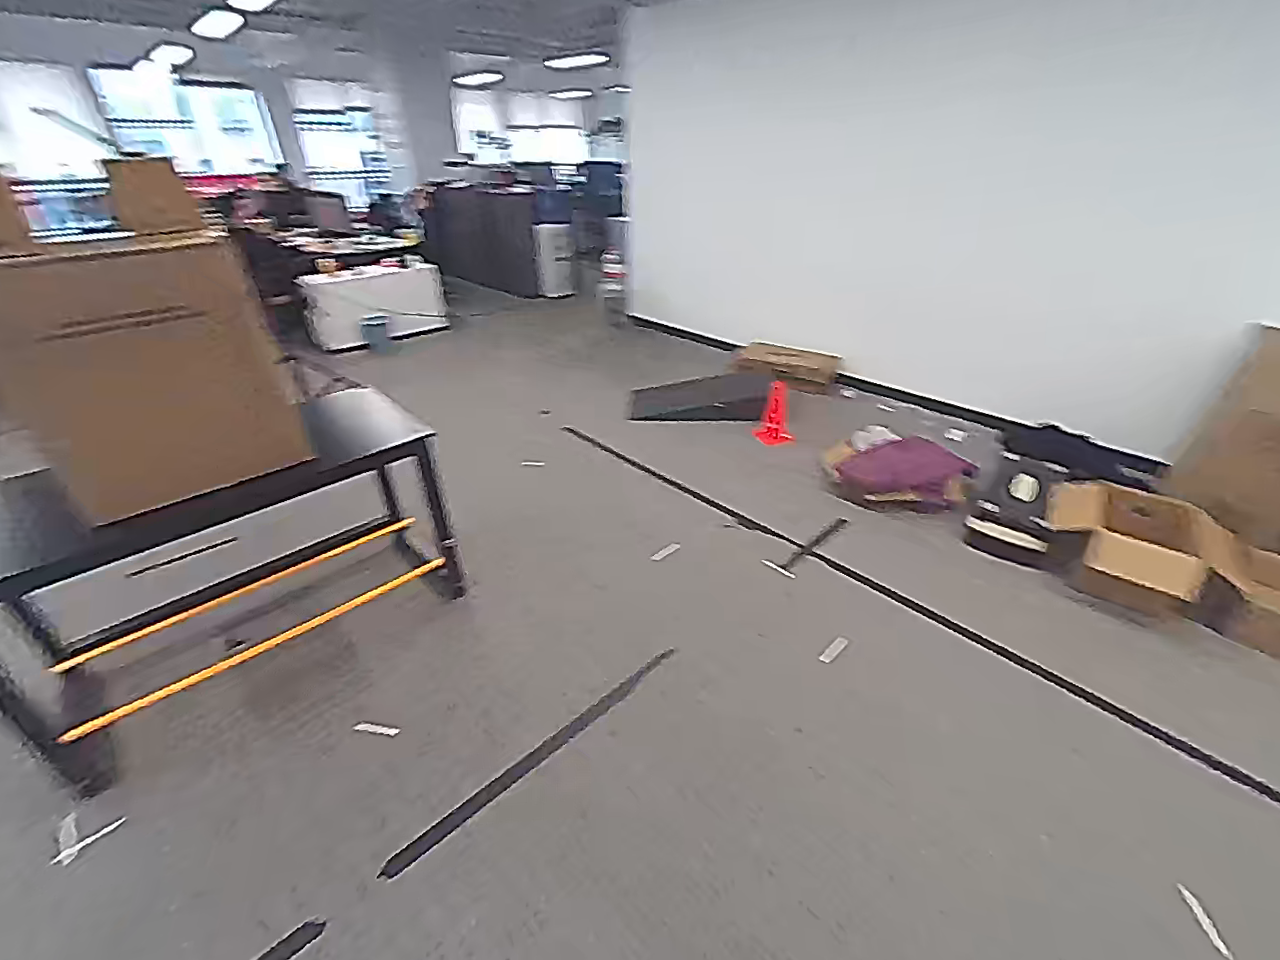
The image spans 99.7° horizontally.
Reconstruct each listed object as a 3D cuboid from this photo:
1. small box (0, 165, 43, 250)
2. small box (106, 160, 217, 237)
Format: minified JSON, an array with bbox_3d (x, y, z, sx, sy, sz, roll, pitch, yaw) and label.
[{"bbox_3d":[-1.525,-0.622,1.234,0.179,0.176,0.168,23,37,35],"label":"small box"},{"bbox_3d":[-1.256,-0.740,1.423,0.168,0.176,0.179,-28,39,-35],"label":"small box"}]
